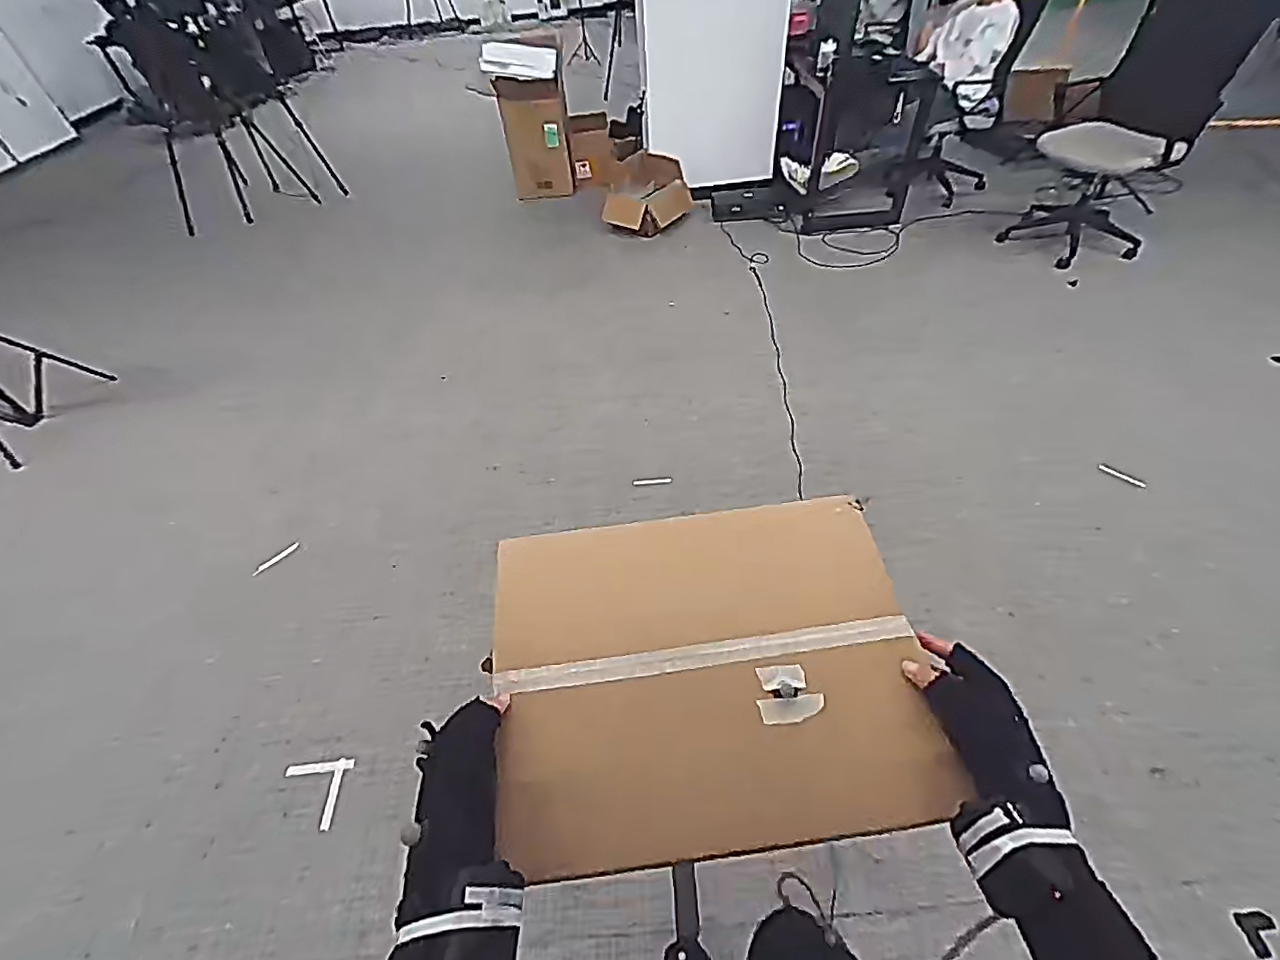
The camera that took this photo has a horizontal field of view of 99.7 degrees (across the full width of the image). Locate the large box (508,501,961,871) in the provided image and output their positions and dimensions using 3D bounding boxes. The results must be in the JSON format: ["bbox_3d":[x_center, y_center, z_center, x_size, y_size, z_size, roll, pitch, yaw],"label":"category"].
[{"bbox_3d":[0.070,0.259,0.664,0.408,0.320,0.320,-7,56,-2],"label":"large box"}]
